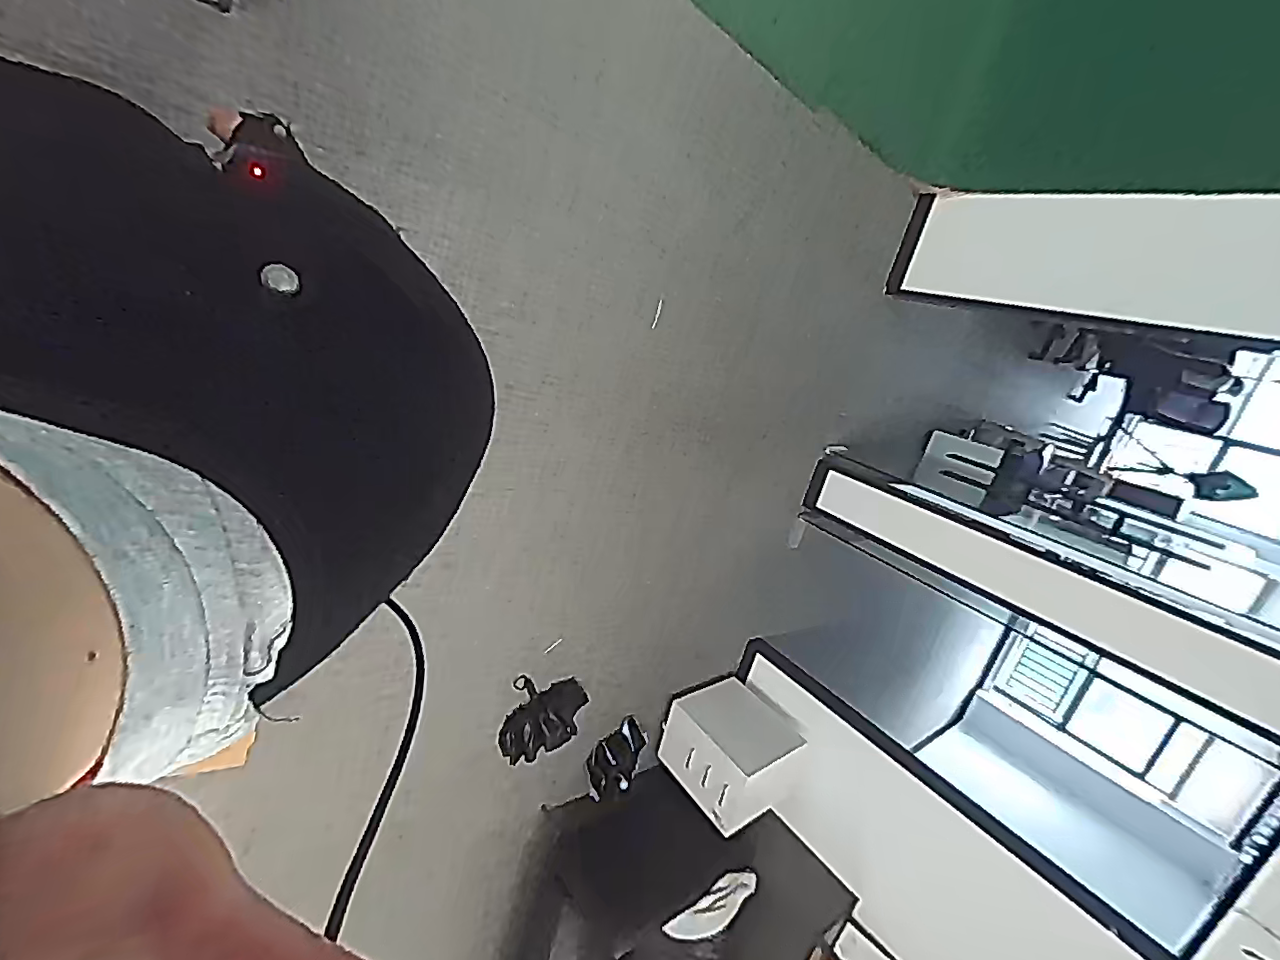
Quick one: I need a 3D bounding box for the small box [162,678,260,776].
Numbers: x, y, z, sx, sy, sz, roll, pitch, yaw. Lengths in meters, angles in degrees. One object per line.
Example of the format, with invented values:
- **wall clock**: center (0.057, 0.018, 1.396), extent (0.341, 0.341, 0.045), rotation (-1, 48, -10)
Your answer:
- **small box**: center (-1.164, 0.659, 1.467), extent (0.179, 0.176, 0.168), rotation (14, 102, -43)
